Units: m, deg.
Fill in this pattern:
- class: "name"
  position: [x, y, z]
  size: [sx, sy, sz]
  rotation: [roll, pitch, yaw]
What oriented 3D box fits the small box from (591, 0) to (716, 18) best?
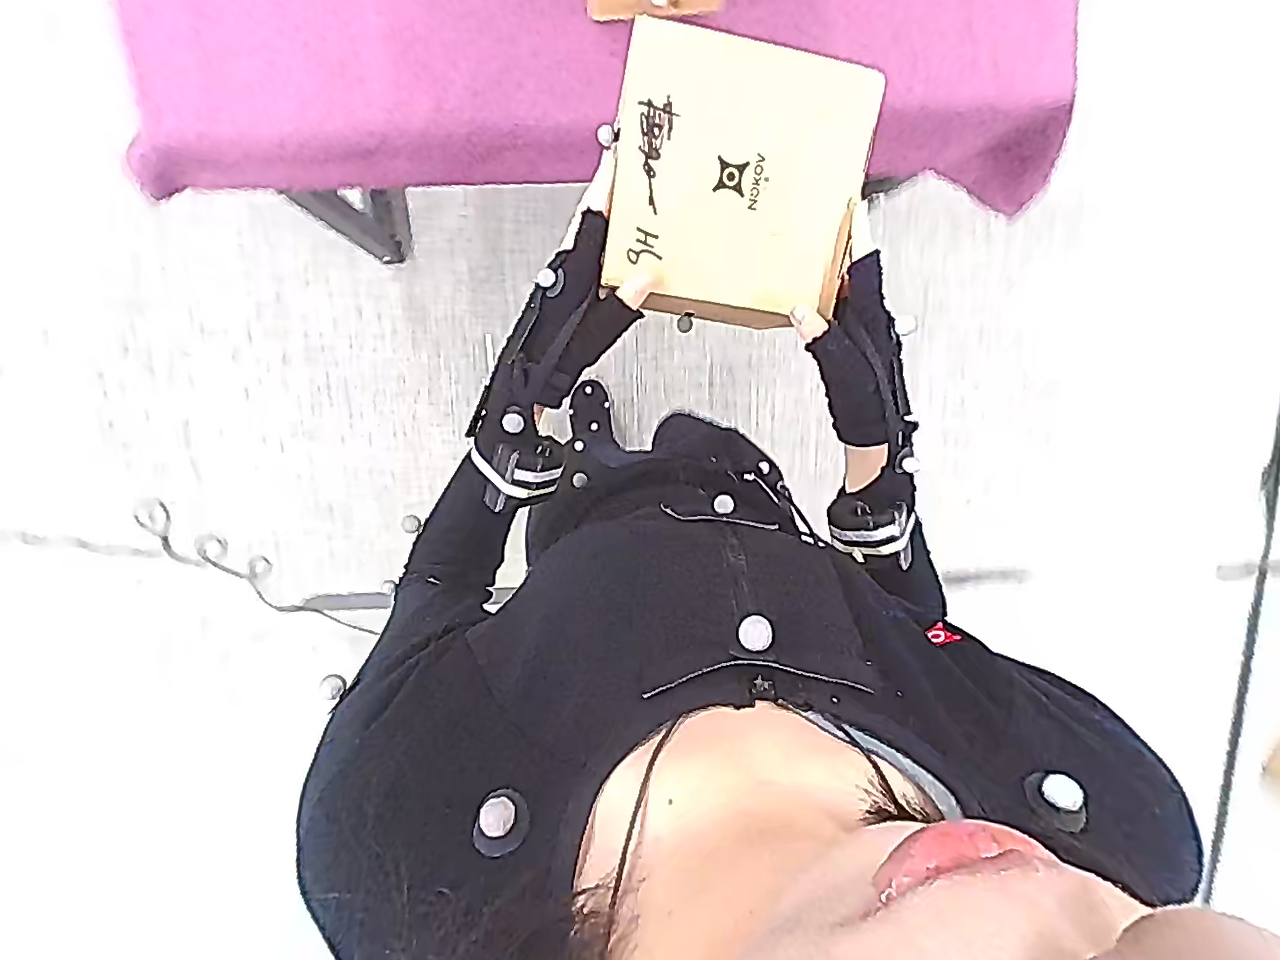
- class: "small box"
  position: [0.016, -0.658, 0.587]
  size: [0.168, 0.176, 0.179]
  rotation: [-9, 100, -4]
